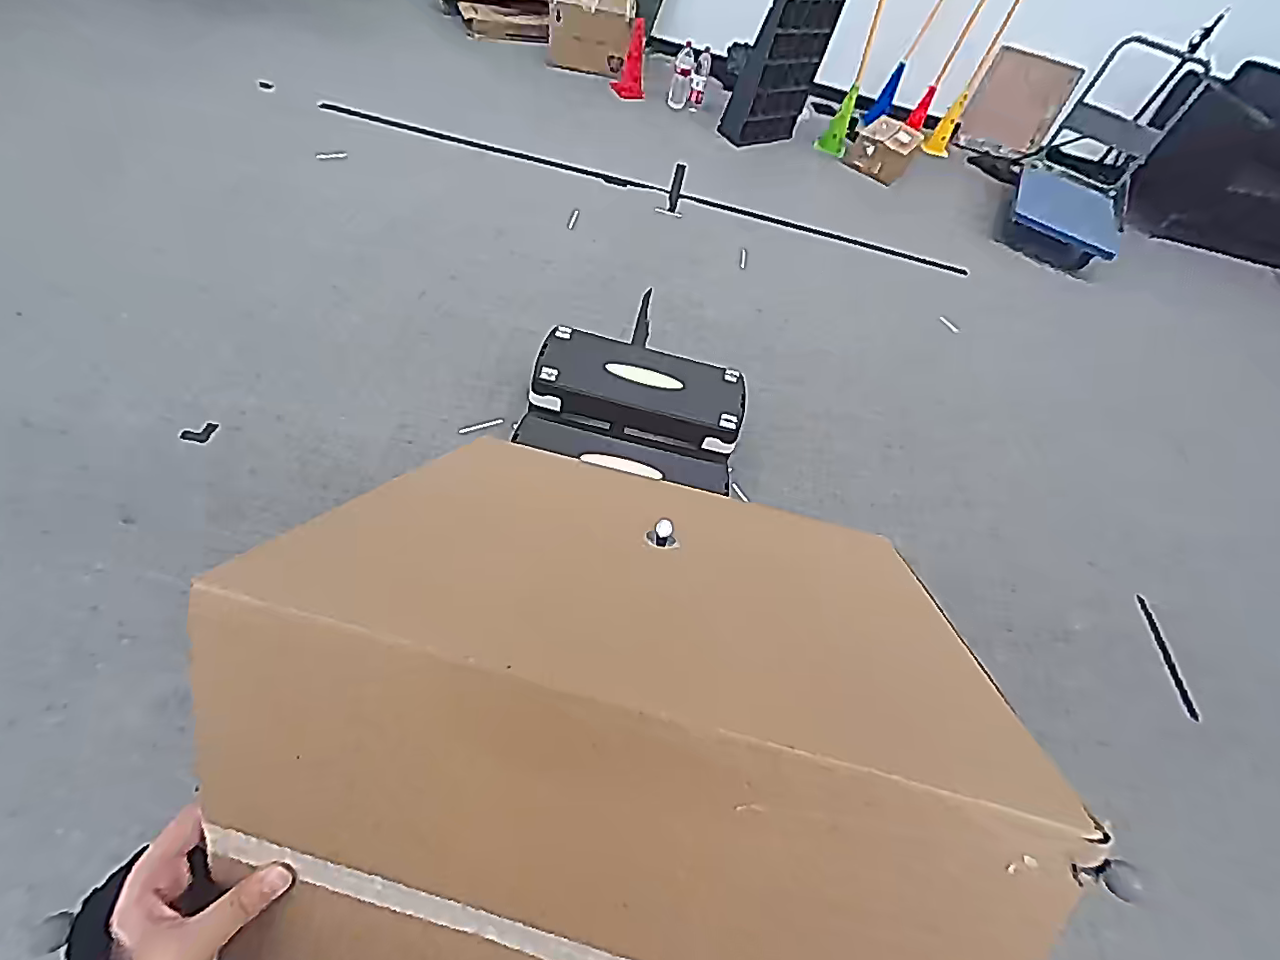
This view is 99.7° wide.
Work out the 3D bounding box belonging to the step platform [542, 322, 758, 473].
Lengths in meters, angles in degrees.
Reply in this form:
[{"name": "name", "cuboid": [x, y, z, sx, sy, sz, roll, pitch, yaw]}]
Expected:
[{"name": "step platform", "cuboid": [0.036, -0.272, 1.758, 0.684, 0.204, 0.286, 19, 54, -1]}]
